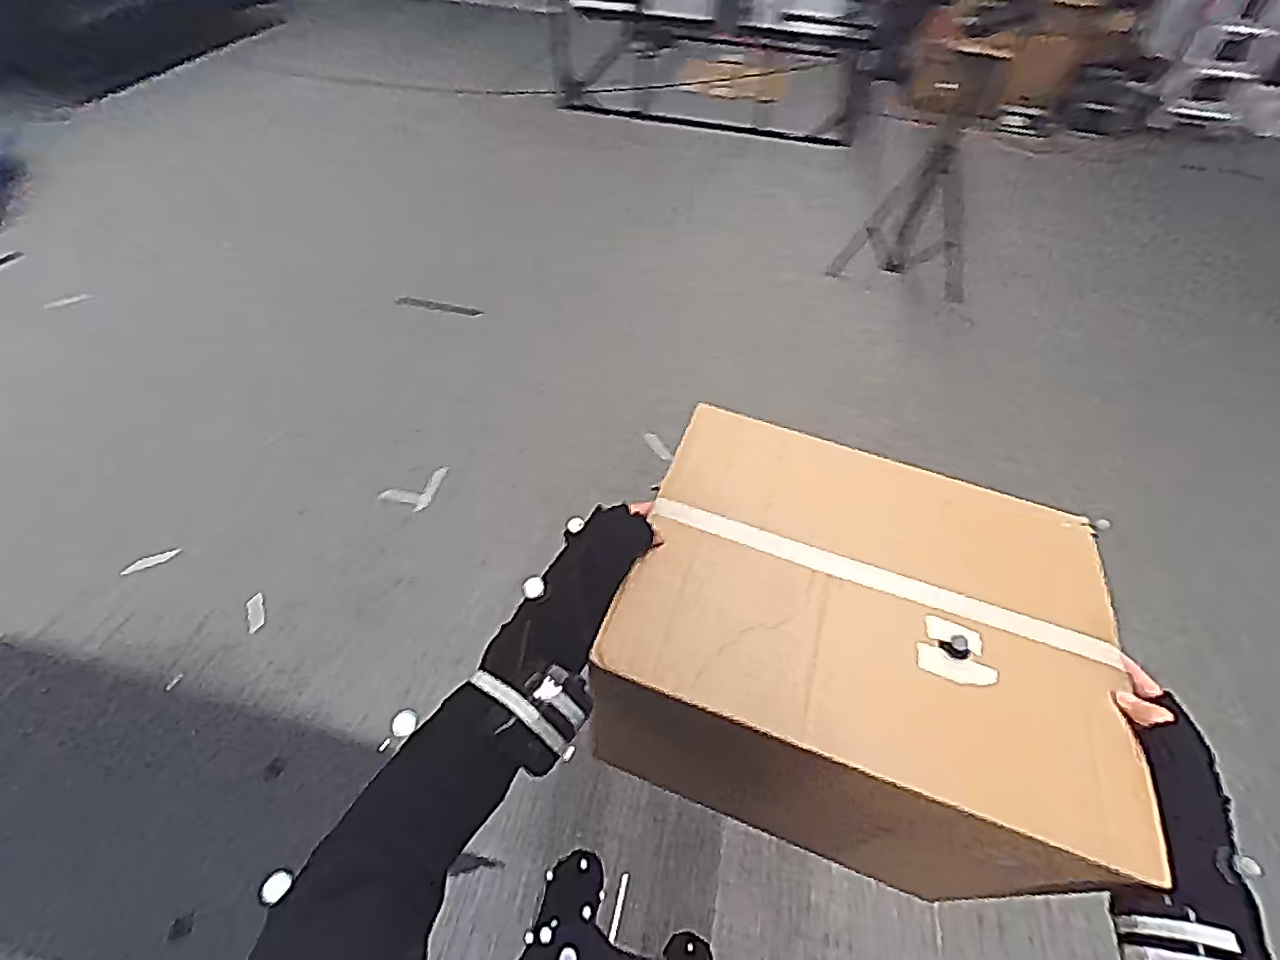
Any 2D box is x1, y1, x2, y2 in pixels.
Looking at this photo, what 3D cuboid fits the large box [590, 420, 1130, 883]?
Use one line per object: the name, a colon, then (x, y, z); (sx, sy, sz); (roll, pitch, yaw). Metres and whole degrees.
large box: (0.183, 0.189, 0.604); (0.408, 0.320, 0.320); (18, 52, 8)
